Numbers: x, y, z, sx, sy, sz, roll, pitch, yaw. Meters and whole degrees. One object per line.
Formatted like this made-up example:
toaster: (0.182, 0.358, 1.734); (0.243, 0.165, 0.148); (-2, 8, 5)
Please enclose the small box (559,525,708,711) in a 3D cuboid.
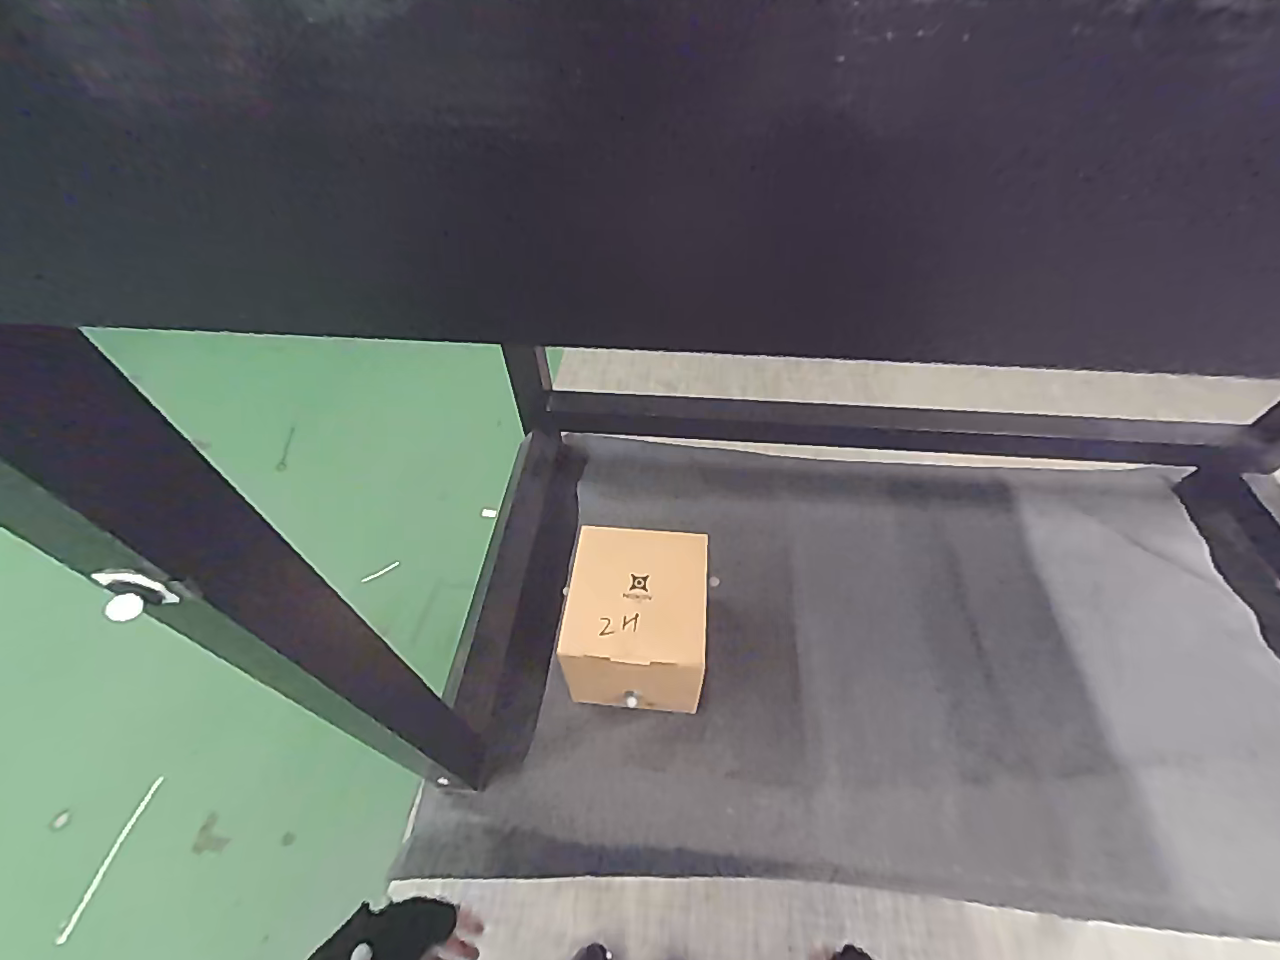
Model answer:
small box: (-0.001, 0.182, 0.710); (0.168, 0.176, 0.179); (4, 51, 5)
